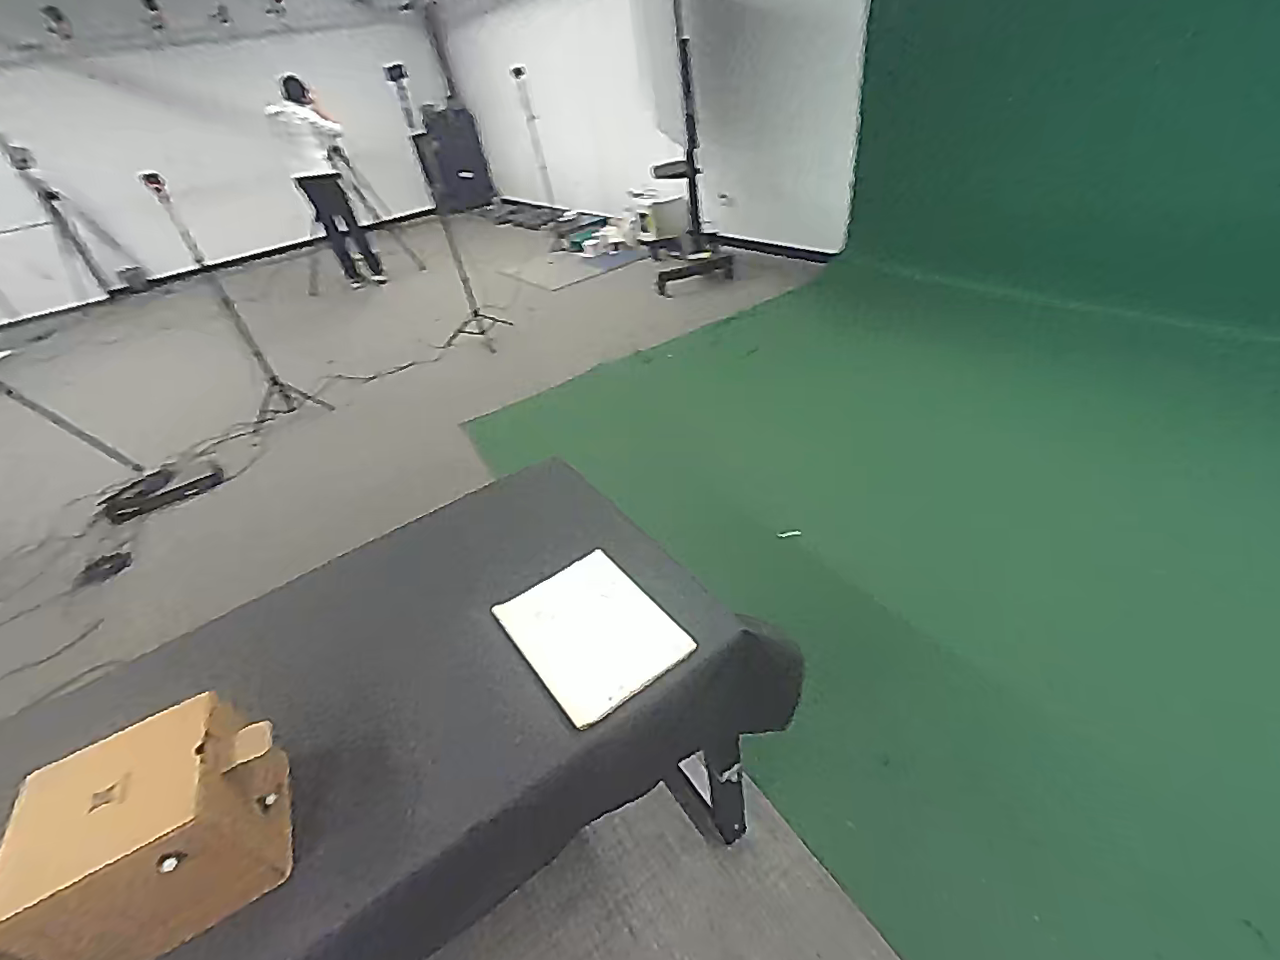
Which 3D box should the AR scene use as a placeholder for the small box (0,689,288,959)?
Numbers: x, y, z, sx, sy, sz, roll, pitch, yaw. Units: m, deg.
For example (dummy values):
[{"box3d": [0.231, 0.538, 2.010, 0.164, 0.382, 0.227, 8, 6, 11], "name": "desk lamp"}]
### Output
[{"box3d": [-0.517, 0.375, 0.583, 0.179, 0.176, 0.168, -25, 39, -20], "name": "small box"}]
